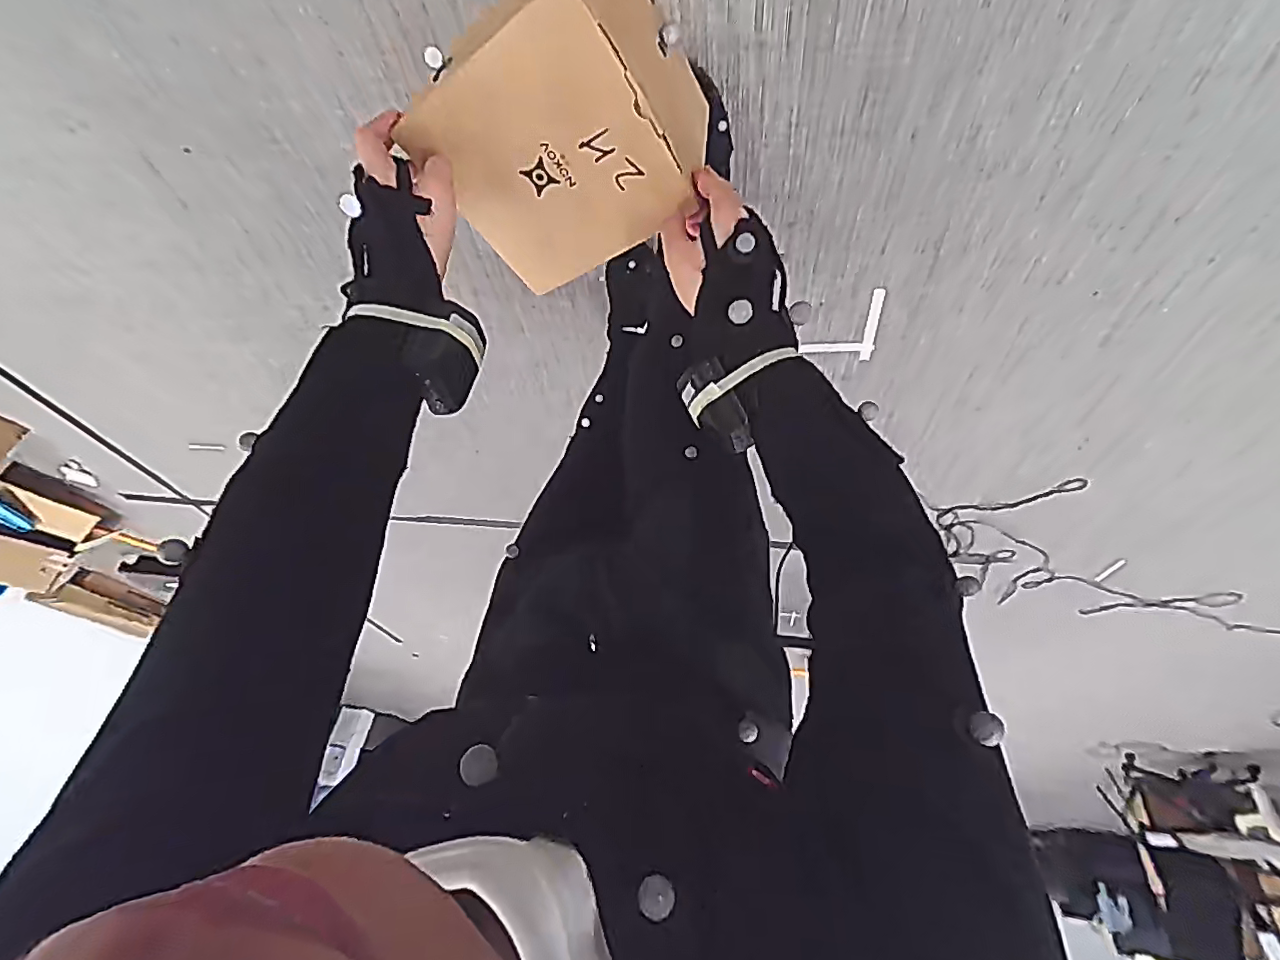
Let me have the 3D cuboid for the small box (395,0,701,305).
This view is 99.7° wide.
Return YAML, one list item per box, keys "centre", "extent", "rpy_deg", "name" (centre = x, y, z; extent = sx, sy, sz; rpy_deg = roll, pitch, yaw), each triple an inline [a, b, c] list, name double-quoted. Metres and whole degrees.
- centre: [-0.060, -0.290, 0.454]
  extent: [0.179, 0.176, 0.168]
  rpy_deg: [-15, 141, 30]
  name: "small box"
